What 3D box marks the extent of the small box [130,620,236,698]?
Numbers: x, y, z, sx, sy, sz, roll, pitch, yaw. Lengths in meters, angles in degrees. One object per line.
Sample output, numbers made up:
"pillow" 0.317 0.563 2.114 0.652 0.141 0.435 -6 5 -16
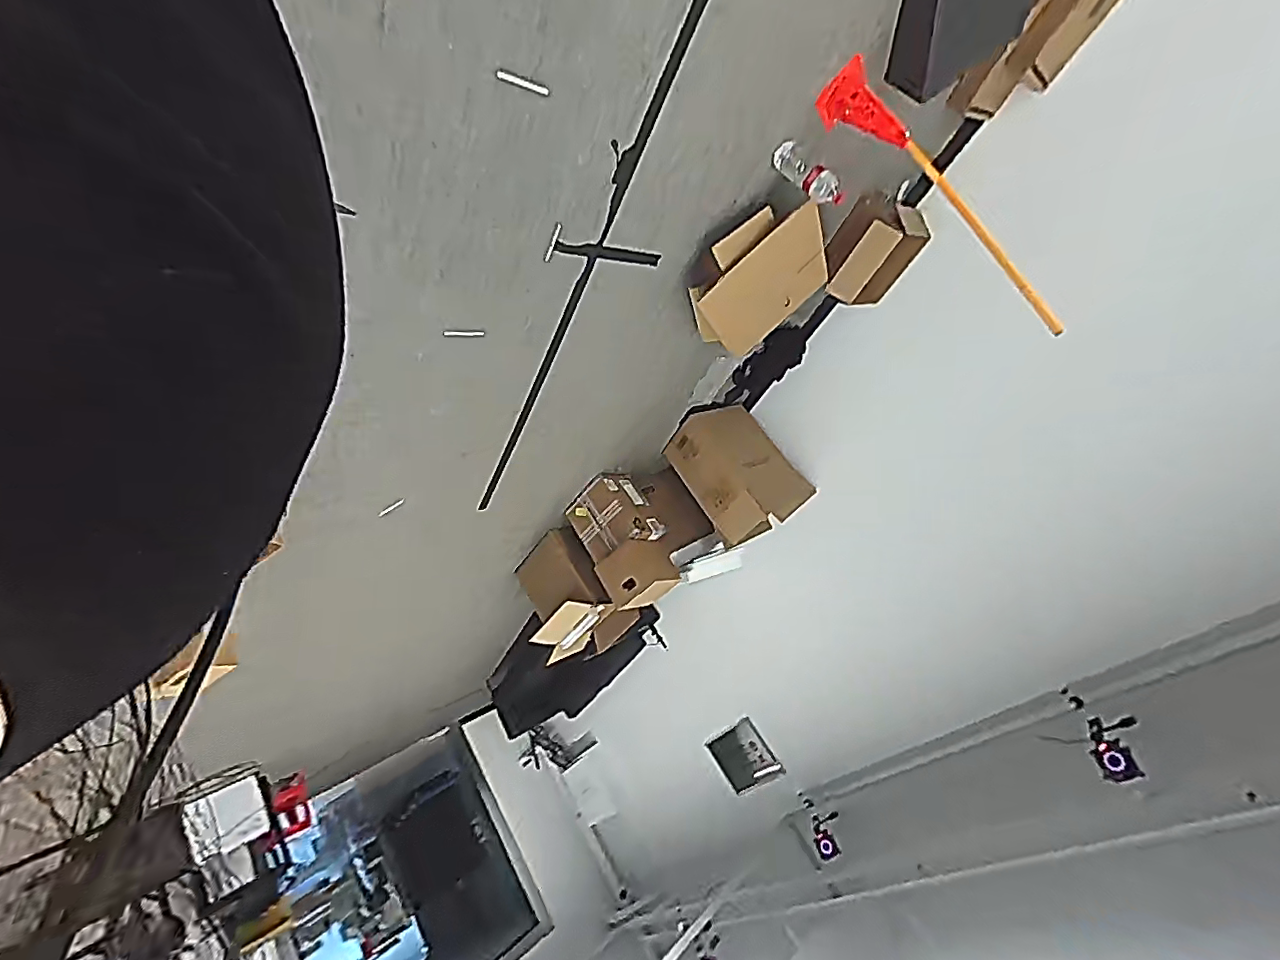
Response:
"small box" -1.435 0.558 1.698 0.168 0.176 0.179 -35 161 -4
